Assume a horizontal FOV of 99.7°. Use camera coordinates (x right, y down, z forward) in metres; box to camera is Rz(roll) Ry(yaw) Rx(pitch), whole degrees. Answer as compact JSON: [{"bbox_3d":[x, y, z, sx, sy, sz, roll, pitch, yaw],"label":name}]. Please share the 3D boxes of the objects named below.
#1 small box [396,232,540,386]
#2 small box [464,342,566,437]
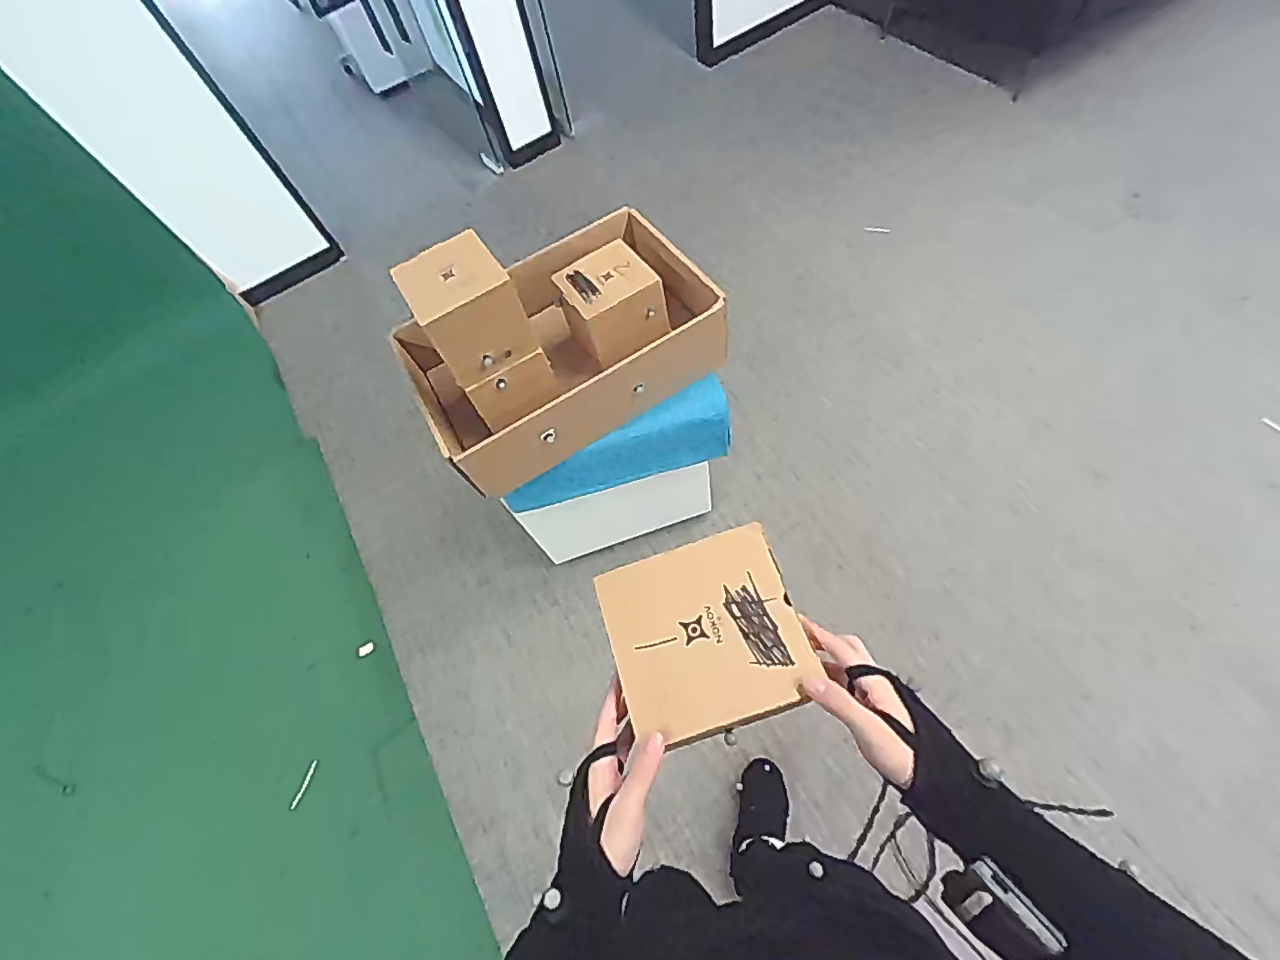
[{"bbox_3d":[-0.307,-0.306,0.986,0.168,0.176,0.179,-31,60,-8],"label":"small box"},{"bbox_3d":[-0.277,-0.223,1.123,0.168,0.176,0.179,-31,59,-7],"label":"small box"}]
